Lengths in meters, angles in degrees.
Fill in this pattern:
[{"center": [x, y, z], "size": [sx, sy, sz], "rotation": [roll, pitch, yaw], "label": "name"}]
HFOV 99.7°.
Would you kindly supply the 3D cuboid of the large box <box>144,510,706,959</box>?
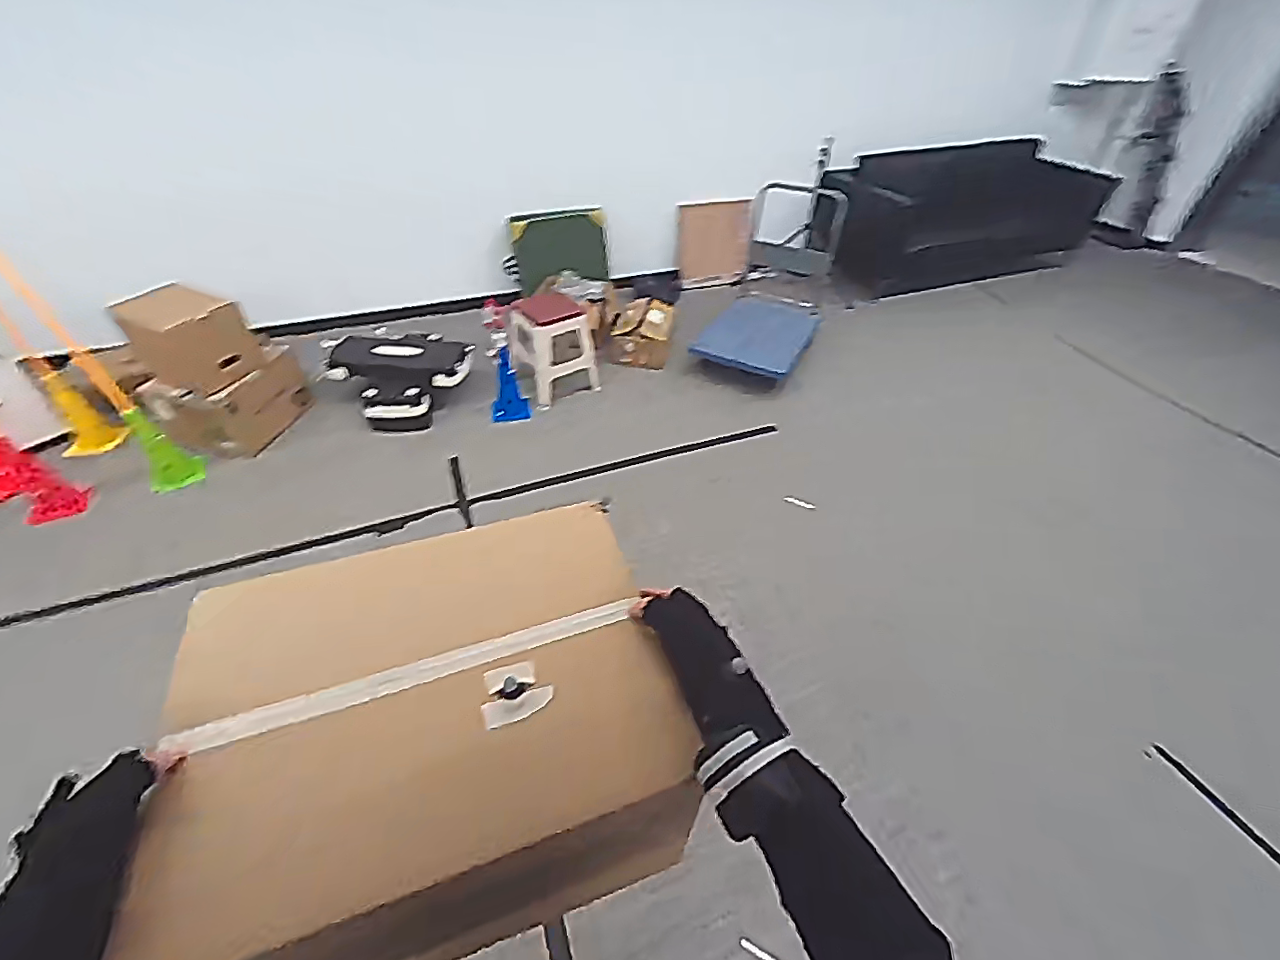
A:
[{"center": [-0.186, 0.285, 0.592], "size": [0.408, 0.320, 0.320], "rotation": [-12, 46, -16], "label": "large box"}]
